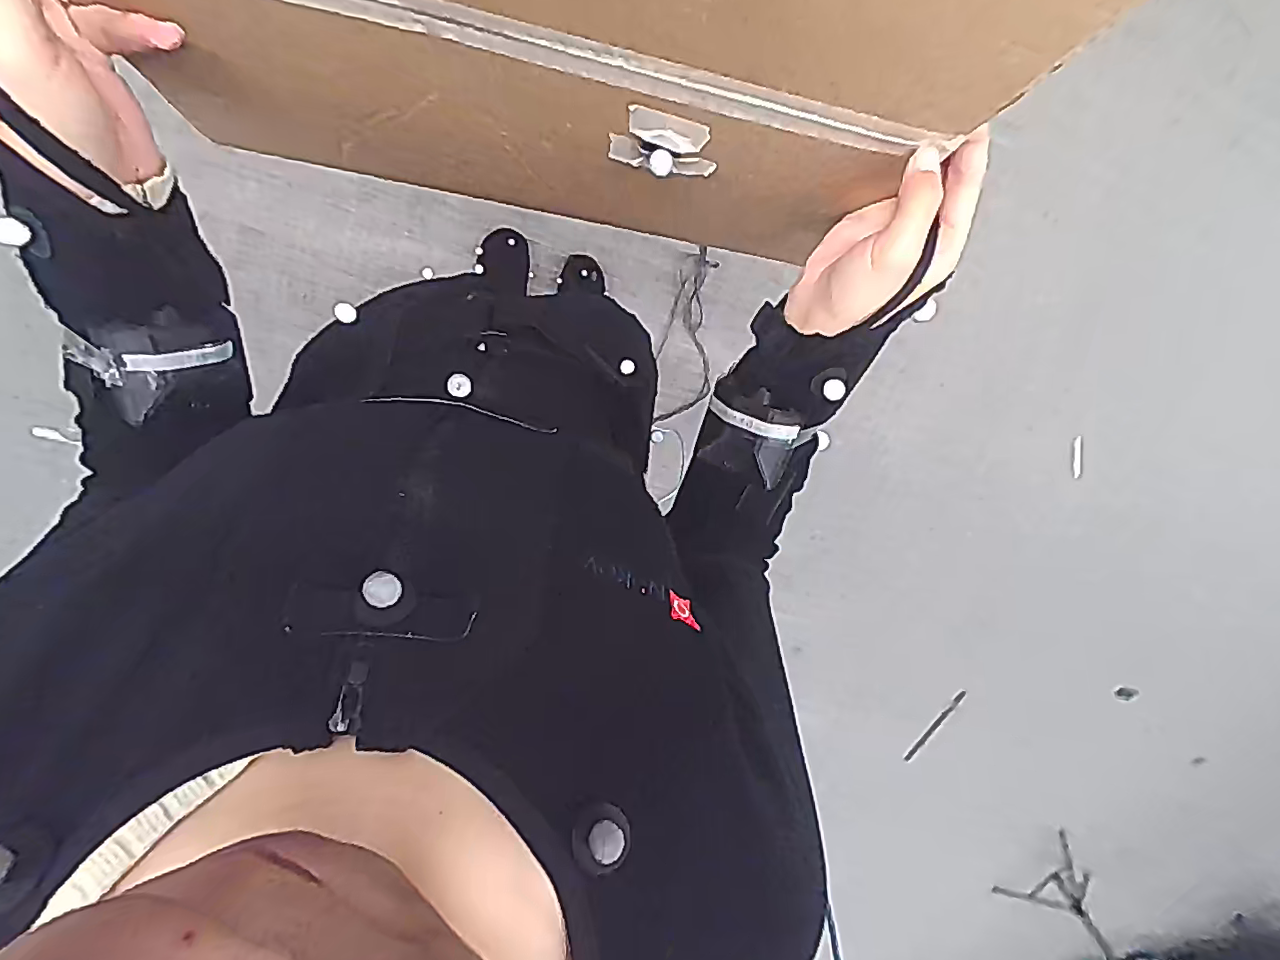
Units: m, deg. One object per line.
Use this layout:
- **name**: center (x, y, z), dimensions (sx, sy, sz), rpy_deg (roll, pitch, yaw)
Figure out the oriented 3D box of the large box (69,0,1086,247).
- **large box**: center (-0.035, -0.343, 0.231), dimensions (0.408, 0.320, 0.320), rpy_deg (5, 91, -10)
